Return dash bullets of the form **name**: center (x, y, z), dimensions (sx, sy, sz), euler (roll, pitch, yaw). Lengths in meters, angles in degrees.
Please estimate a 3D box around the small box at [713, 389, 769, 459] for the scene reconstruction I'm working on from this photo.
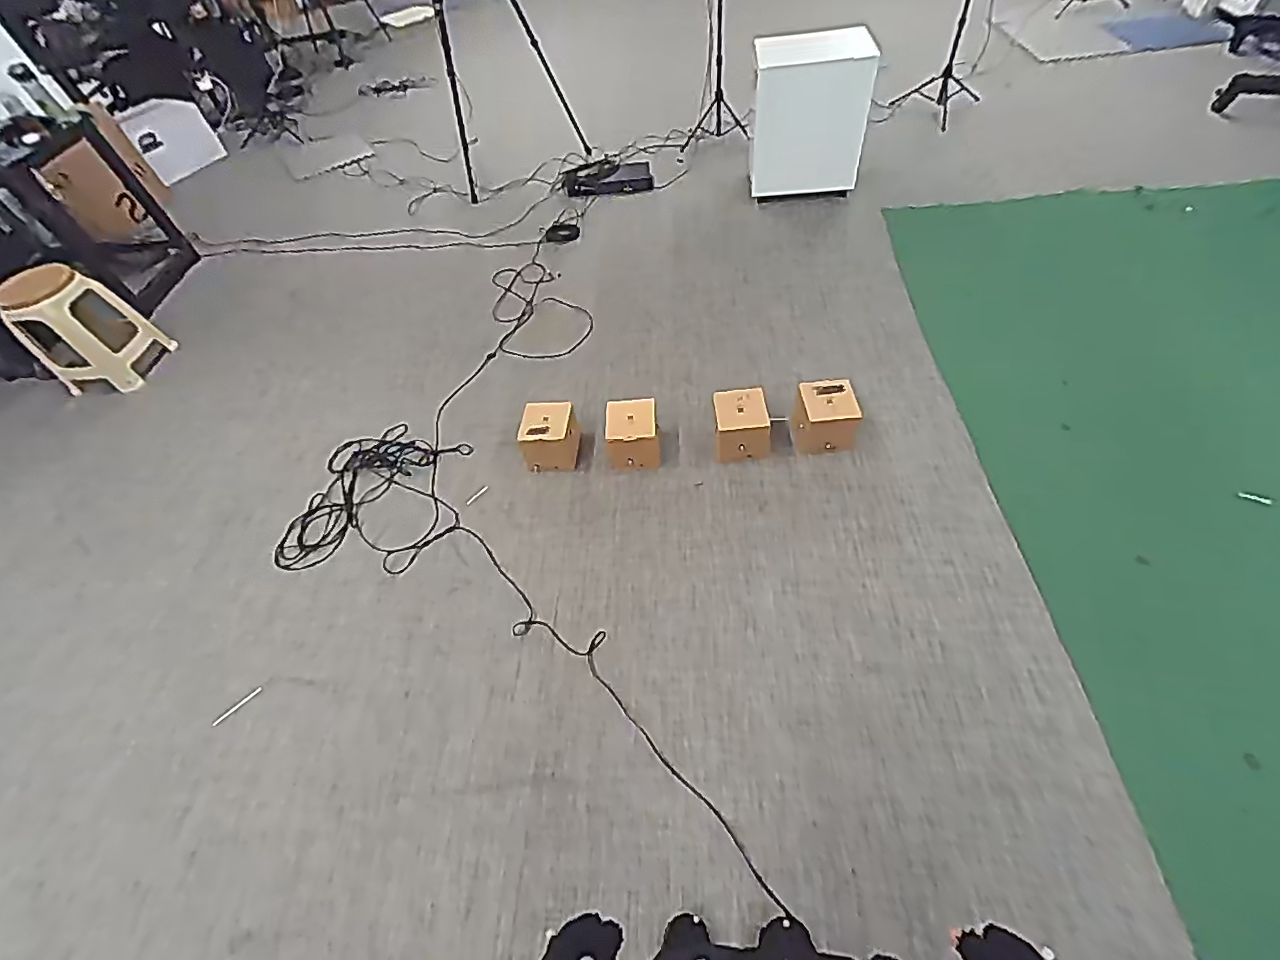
- **small box**: center (0.339, -0.184, 1.835), dimensions (0.168, 0.176, 0.179), euler (-5, 53, 3)

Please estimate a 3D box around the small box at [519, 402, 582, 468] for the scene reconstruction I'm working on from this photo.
- **small box**: center (-0.307, -0.154, 1.899), dimensions (0.168, 0.176, 0.179), euler (0, 53, 8)

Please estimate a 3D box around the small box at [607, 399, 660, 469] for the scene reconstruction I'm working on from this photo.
- **small box**: center (-0.019, -0.156, 1.864), dimensions (0.168, 0.176, 0.179), euler (-4, 54, 5)
